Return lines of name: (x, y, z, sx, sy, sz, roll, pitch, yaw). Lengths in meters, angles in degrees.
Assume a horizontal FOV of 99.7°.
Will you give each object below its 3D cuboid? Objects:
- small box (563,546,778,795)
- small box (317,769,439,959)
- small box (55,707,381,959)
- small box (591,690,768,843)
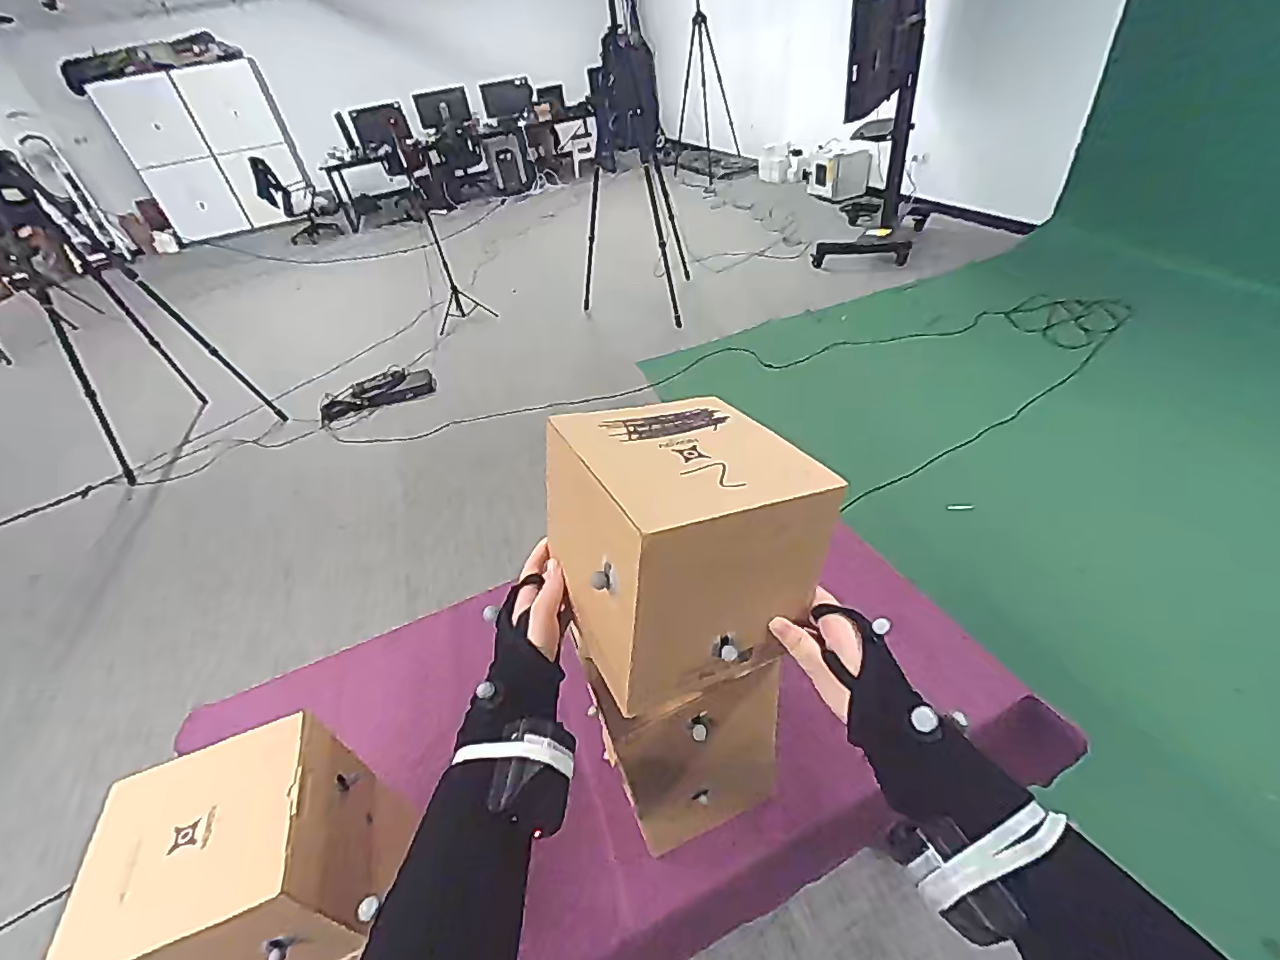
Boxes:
small box: (0.034, 0.211, 0.605, 0.179, 0.176, 0.168, -22, 42, -11)
small box: (-0.348, 0.483, 0.625, 0.168, 0.176, 0.179, -20, 40, -10)
small box: (-0.370, 0.360, 0.520, 0.179, 0.176, 0.168, -19, 41, -10)
small box: (0.054, 0.335, 0.710, 0.179, 0.176, 0.168, -20, 41, -12)
